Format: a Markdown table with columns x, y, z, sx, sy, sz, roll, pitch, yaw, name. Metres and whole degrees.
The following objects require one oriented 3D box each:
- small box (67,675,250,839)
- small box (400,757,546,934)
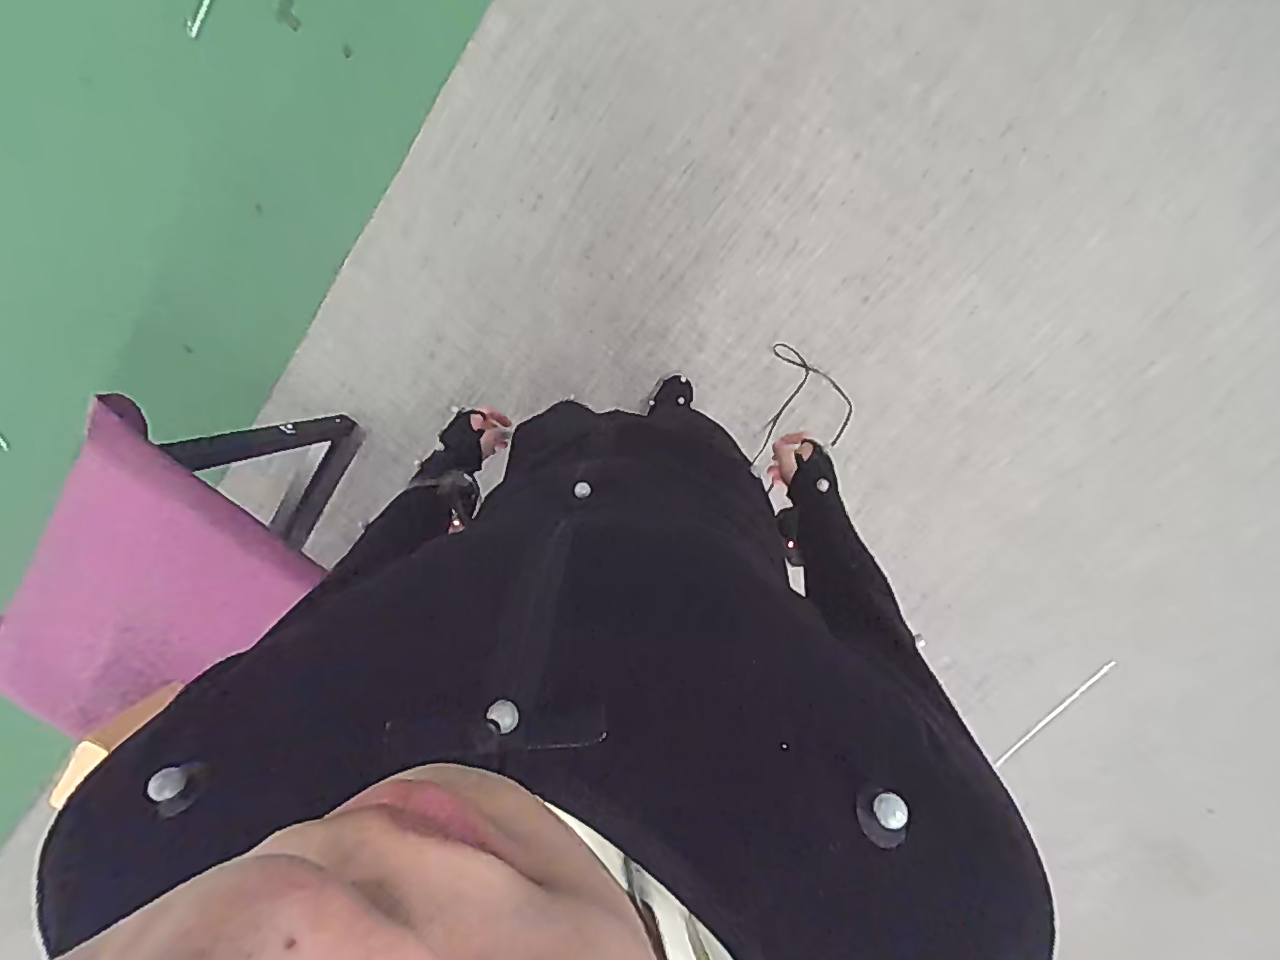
| x | y | z | sx | sy | sz | roll | pitch | yaw | name |
| --- | --- | --- | --- | --- | --- | --- | --- | --- | --- |
| -0.894 | 0.513 | 1.021 | 0.168 | 0.176 | 0.179 | 38 | 103 | -3 | small box |
| -0.290 | 0.650 | 0.981 | 0.168 | 0.176 | 0.179 | 34 | 106 | -1 | small box |
